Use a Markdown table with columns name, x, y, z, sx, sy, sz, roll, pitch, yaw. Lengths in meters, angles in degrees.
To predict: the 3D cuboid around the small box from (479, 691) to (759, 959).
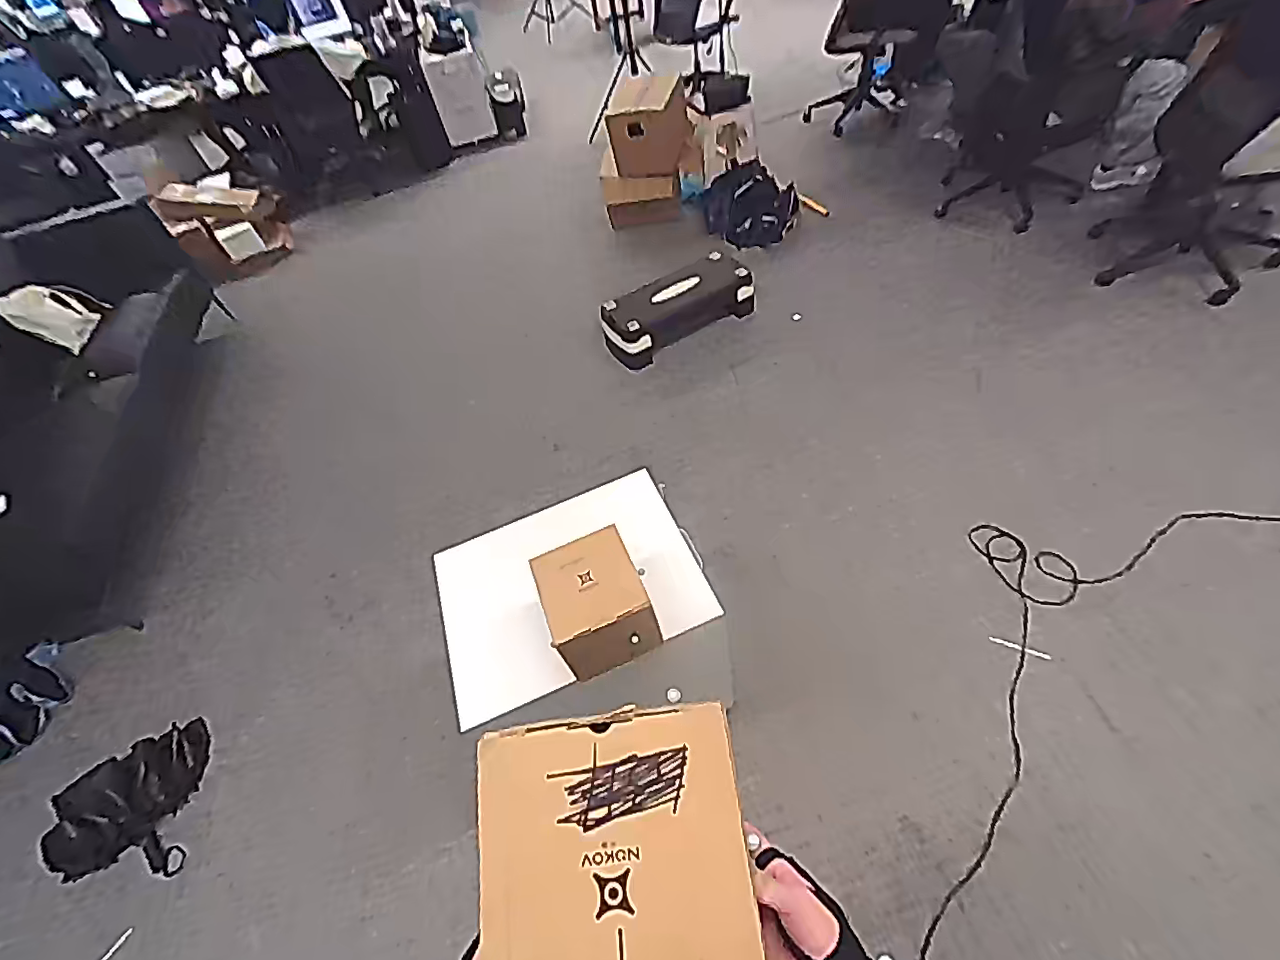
| name | x | y | z | sx | sy | sz | roll | pitch | yaw |
| --- | --- | --- | --- | --- | --- | --- | --- | --- | --- |
| small box | -0.014 | 0.262 | 0.408 | 0.168 | 0.176 | 0.179 | -7 | 69 | 1 |

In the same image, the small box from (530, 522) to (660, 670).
| name | x | y | z | sx | sy | sz | roll | pitch | yaw |
| --- | --- | --- | --- | --- | --- | --- | --- | --- | --- |
| small box | -0.076 | 0.213 | 0.959 | 0.168 | 0.176 | 0.179 | -22 | 49 | -8 |
